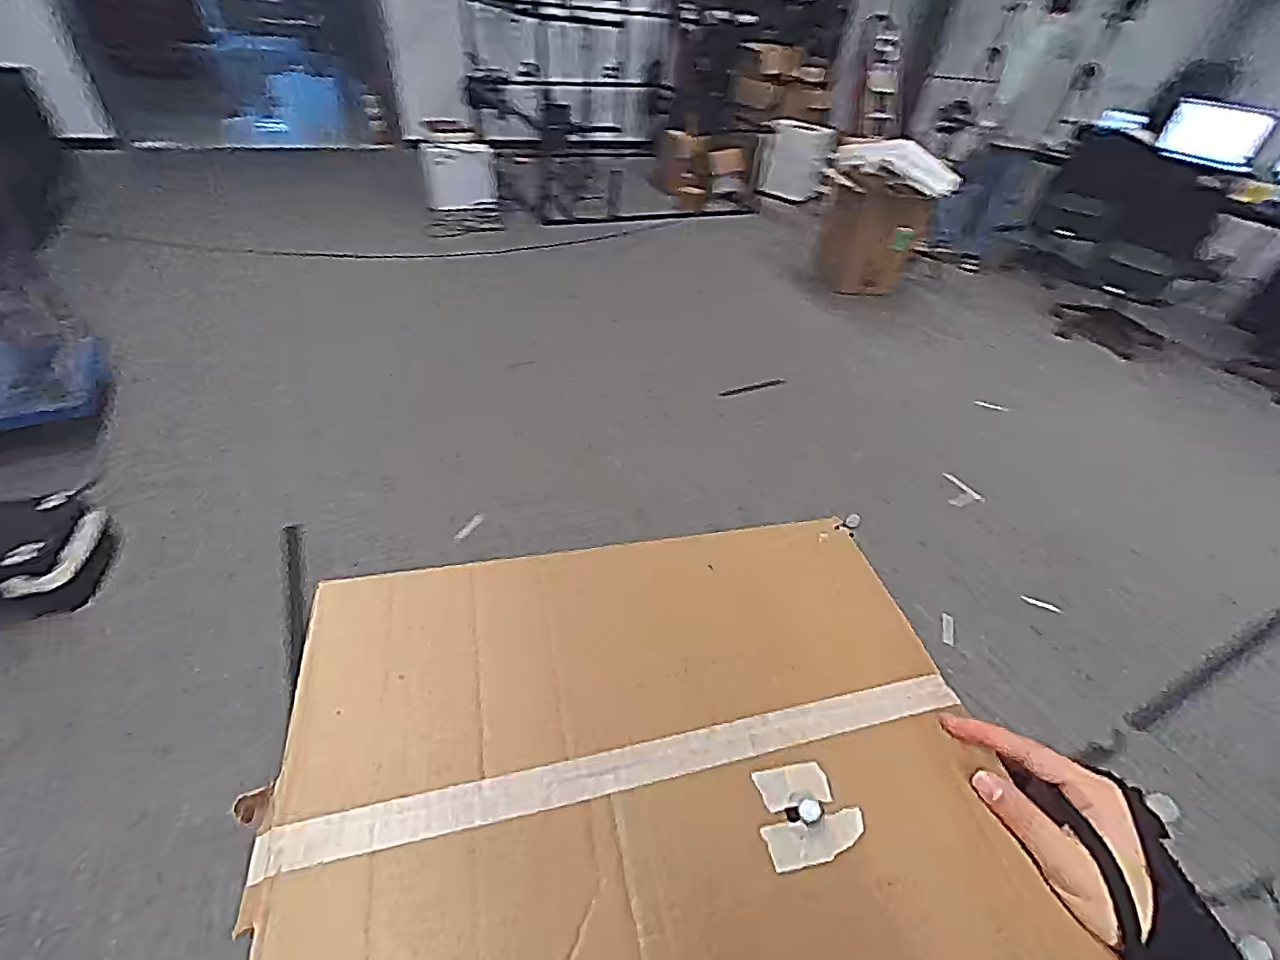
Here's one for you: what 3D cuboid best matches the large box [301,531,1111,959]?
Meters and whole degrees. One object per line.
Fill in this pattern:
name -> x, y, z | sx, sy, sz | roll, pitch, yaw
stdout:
large box -> 0.004, 0.275, 0.430 | 0.408, 0.320, 0.320 | -5, 48, -15
